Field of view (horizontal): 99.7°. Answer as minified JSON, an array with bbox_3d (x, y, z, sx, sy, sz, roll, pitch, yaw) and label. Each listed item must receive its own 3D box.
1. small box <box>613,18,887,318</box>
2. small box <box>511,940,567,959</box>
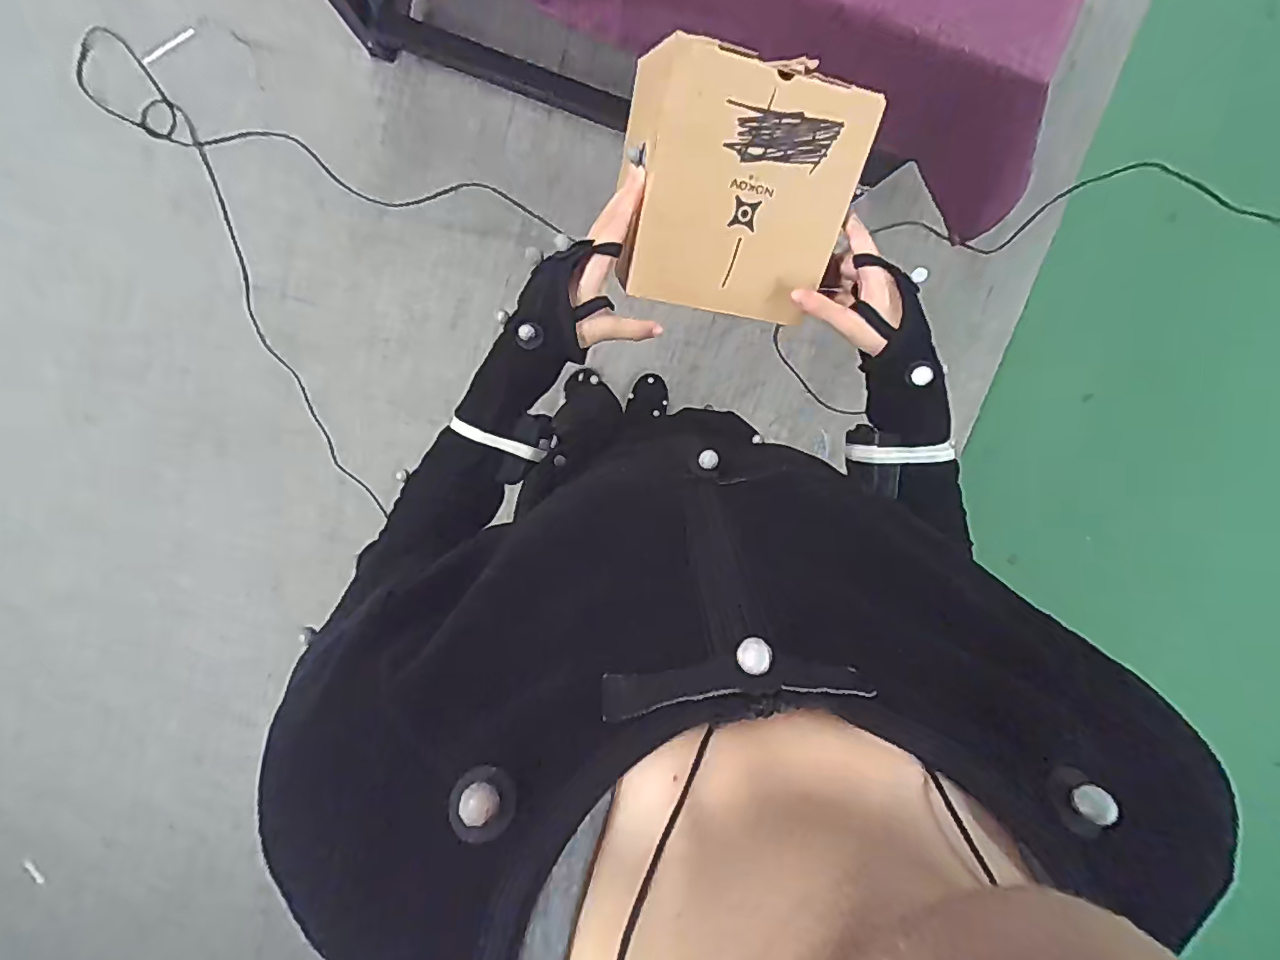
[{"bbox_3d":[0.075,-0.268,0.486,0.168,0.176,0.179,6,121,-14],"label":"small box"},{"bbox_3d":[-0.340,1.614,1.714,0.179,0.176,0.168,15,100,-6],"label":"small box"}]
